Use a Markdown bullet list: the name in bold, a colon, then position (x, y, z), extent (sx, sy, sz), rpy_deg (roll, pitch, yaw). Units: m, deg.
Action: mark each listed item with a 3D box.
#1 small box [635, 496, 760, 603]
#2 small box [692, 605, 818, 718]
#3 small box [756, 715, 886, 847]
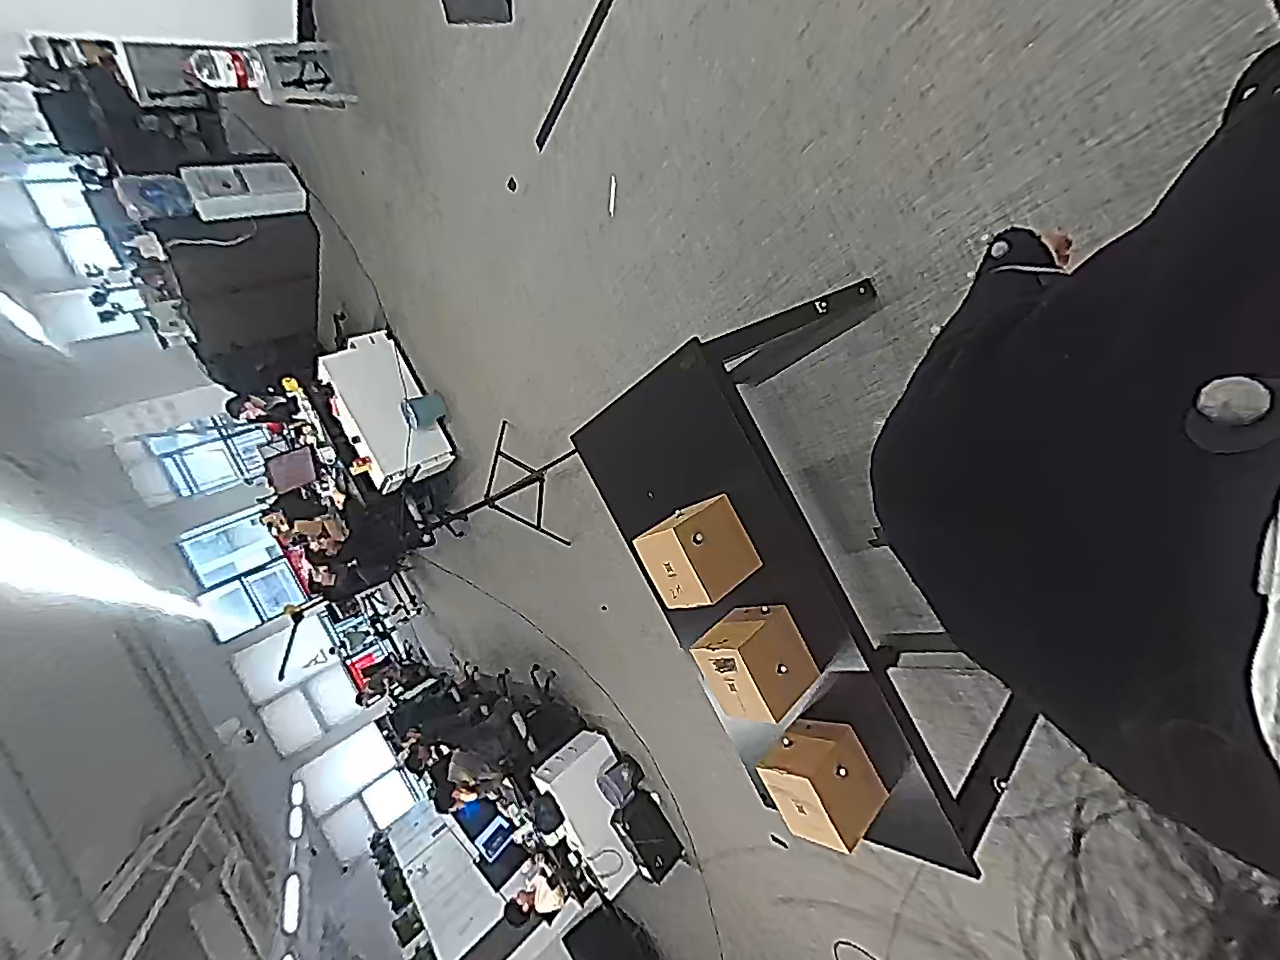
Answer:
- **small box**: position (0.125, 0.148, 1.180), extent (0.168, 0.176, 0.179), rpy_deg (-27, 91, 57)
- **small box**: position (0.253, 0.386, 1.185), extent (0.168, 0.176, 0.179), rpy_deg (-25, 94, 56)
- **small box**: position (0.396, 0.644, 1.183), extent (0.179, 0.176, 0.168), rpy_deg (60, 147, 1)
